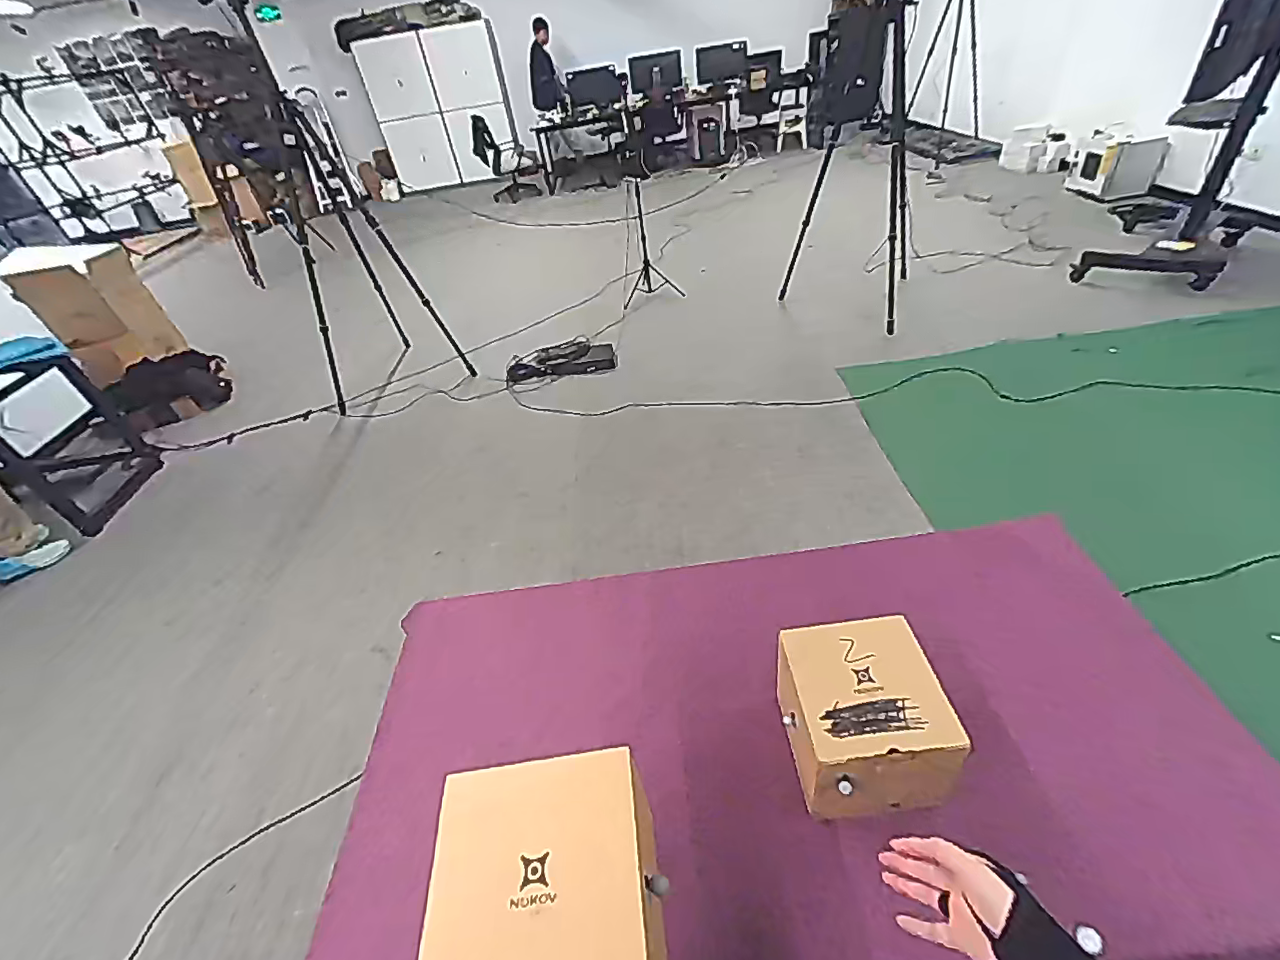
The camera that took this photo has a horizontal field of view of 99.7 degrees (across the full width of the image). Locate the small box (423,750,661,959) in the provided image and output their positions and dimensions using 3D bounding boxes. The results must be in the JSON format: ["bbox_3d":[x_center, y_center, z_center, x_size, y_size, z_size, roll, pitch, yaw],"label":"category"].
[{"bbox_3d":[-0.074,0.372,0.480,0.168,0.176,0.179,-9,42,0],"label":"small box"}]
